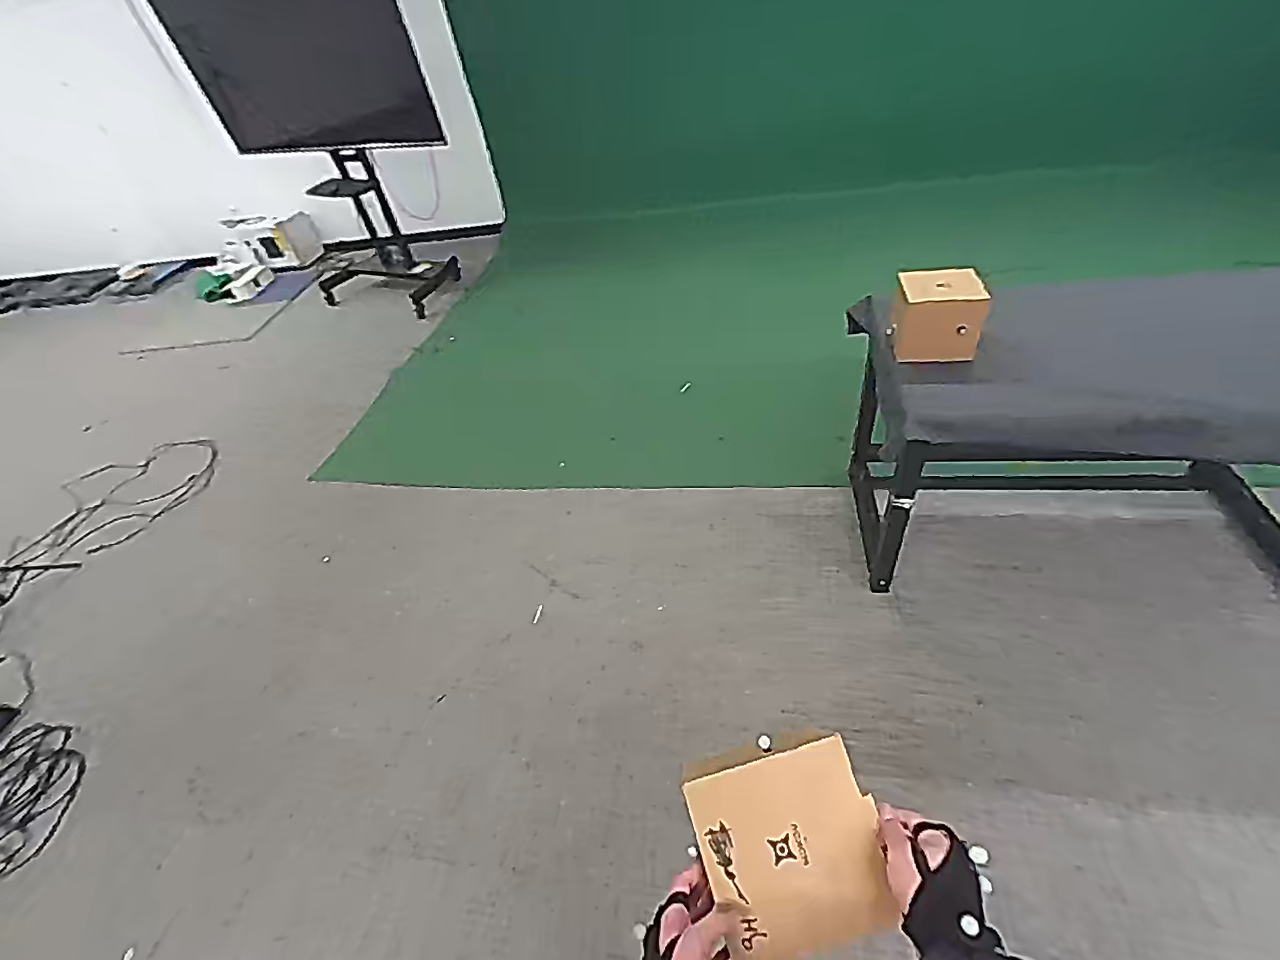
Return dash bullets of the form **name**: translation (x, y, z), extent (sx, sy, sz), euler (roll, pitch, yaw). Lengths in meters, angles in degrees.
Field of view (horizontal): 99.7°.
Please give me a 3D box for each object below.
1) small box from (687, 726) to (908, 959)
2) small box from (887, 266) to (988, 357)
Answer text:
- **small box**: translation (0.158, 0.390, 0.613), extent (0.179, 0.176, 0.168), euler (-17, 68, -1)
- **small box**: translation (0.740, -0.421, 1.364), extent (0.179, 0.176, 0.168), euler (3, 44, 14)
